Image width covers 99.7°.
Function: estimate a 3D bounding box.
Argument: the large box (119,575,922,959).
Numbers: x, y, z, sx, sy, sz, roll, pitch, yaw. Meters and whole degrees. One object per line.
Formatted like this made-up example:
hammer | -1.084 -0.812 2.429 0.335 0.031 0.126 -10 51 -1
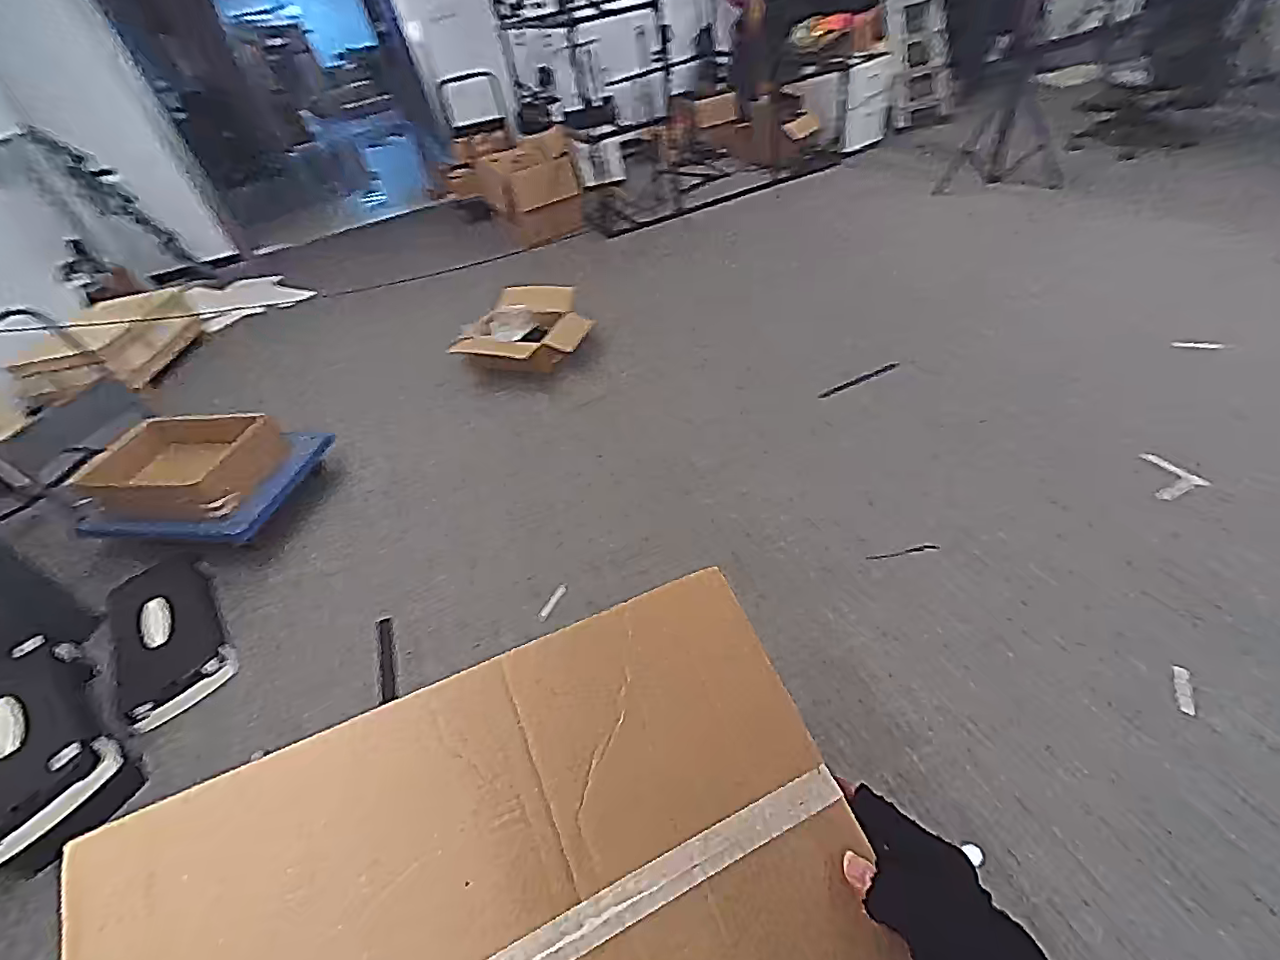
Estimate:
large box | -0.071 0.330 0.431 0.408 0.320 0.320 -19 67 -15
